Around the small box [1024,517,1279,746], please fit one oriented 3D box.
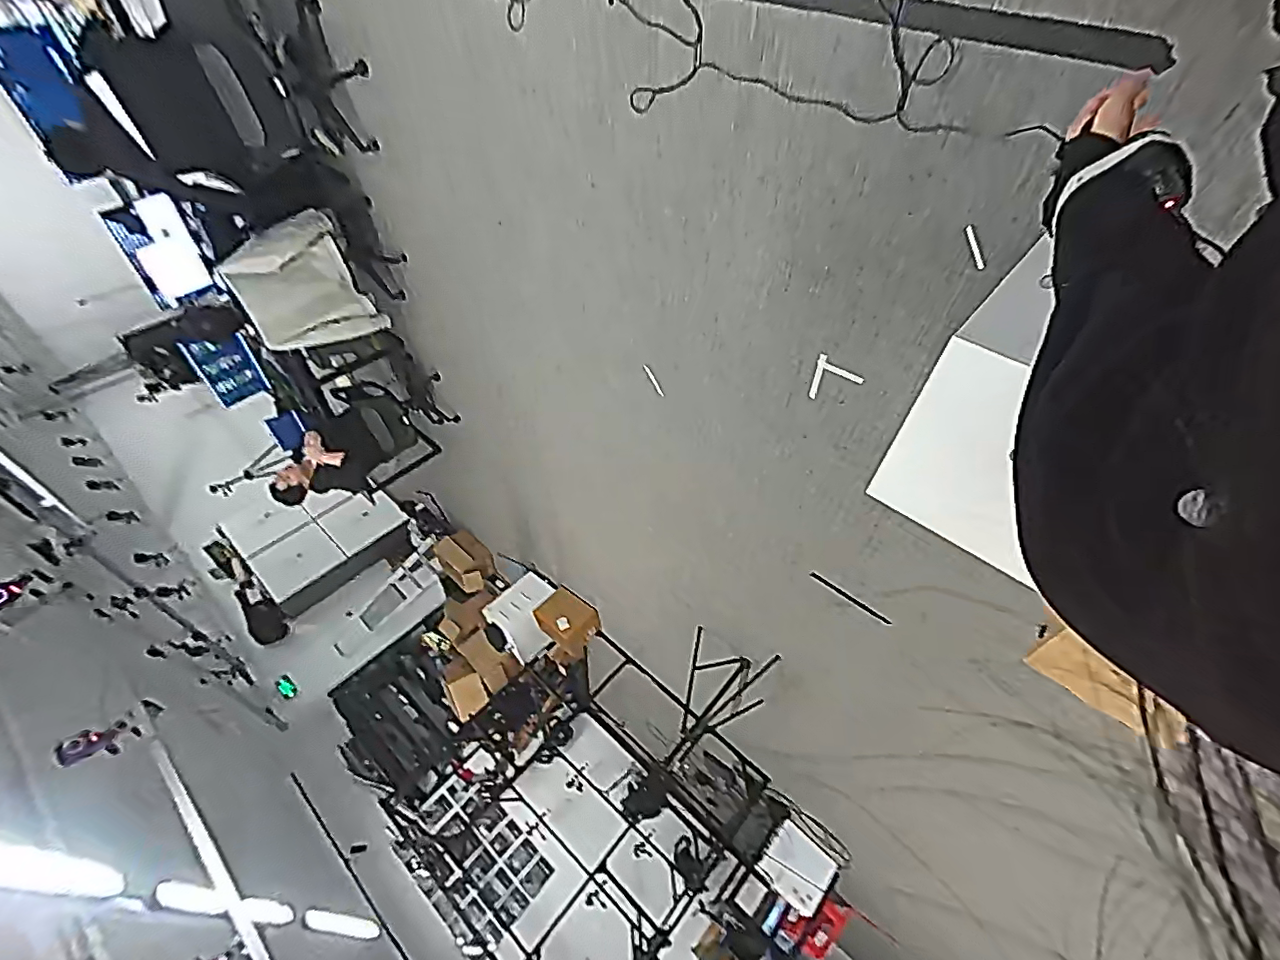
[{"bbox_3d":[0.620,0.178,0.658,0.168,0.176,0.179,34,146,26],"label":"small box"}]
